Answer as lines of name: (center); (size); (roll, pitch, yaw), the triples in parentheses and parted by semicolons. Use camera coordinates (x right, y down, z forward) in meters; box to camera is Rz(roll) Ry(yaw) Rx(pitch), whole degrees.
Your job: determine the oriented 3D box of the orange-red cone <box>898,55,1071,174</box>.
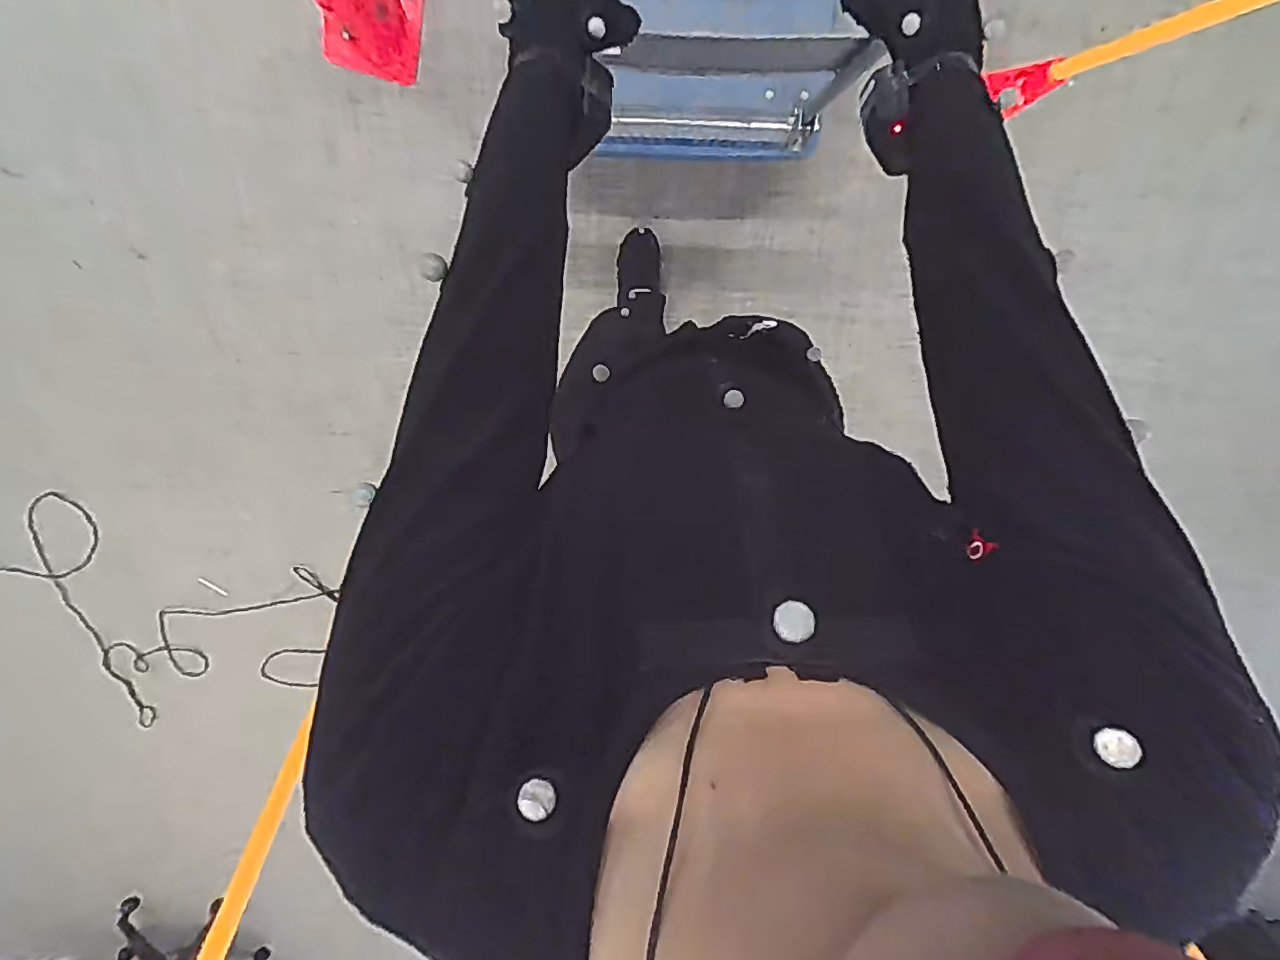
orange-red cone: (0.711, -0.760, 1.075); (0.198, 0.360, 0.199); (12, 112, -5)
